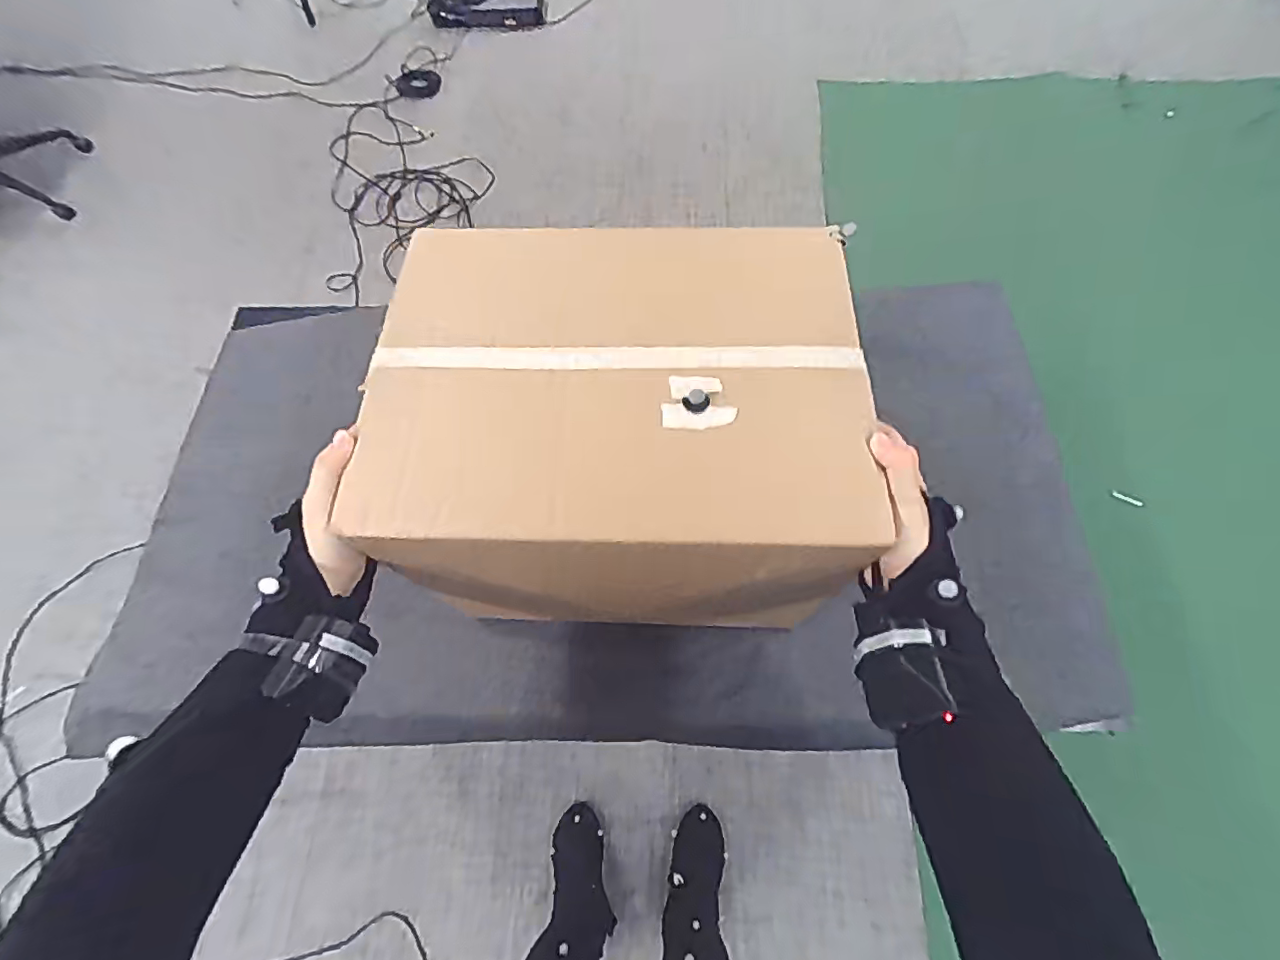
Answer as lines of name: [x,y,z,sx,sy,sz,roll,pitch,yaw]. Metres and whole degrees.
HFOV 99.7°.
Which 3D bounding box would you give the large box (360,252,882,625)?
large box: [-0.012,-0.022,0.601,0.408,0.320,0.320,1,66,2]
